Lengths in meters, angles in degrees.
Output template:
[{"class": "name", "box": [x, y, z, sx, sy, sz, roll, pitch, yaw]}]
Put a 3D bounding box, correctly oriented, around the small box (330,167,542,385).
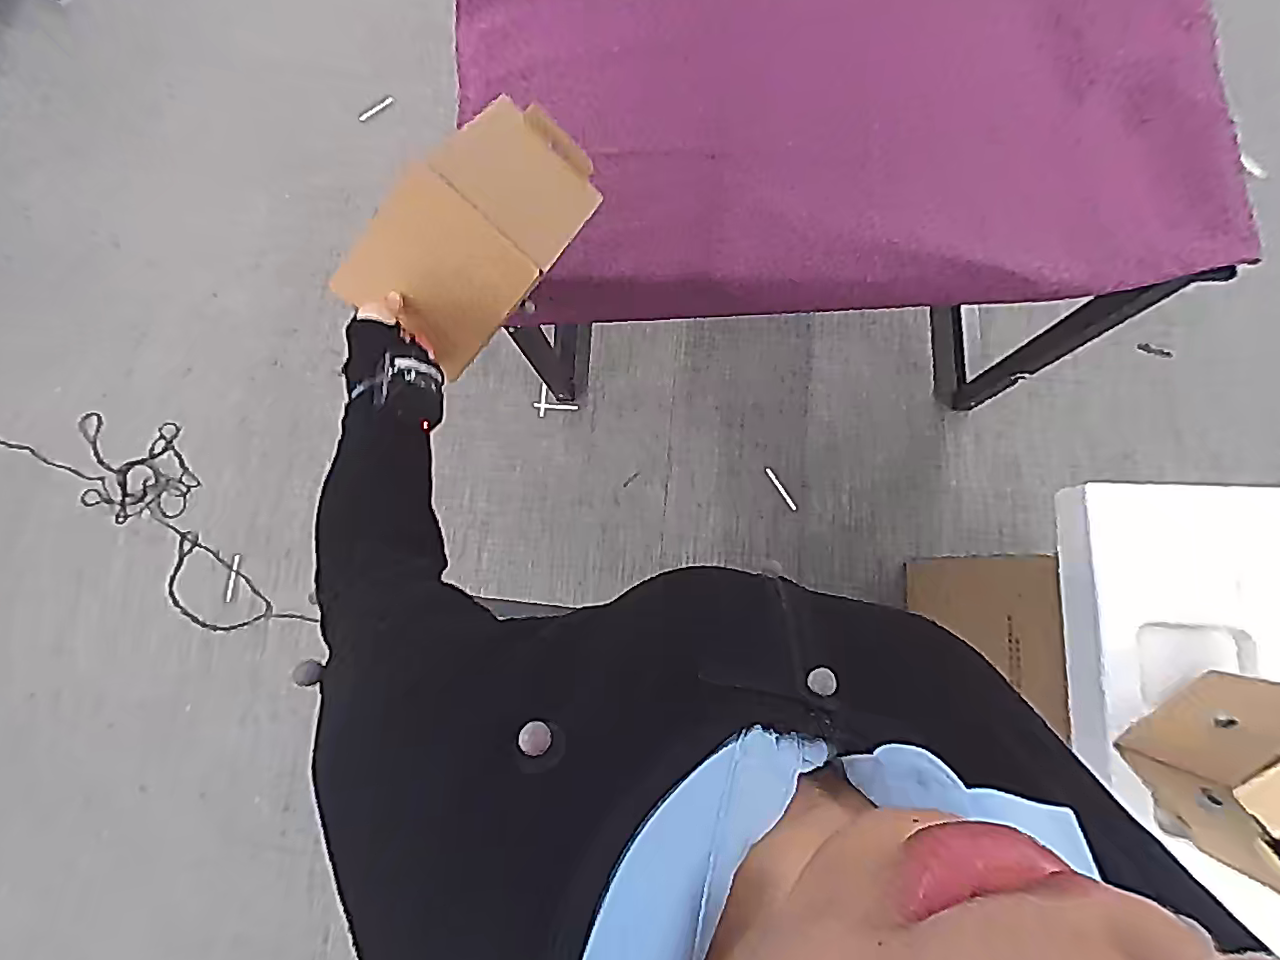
[{"class": "small box", "box": [-0.243, -0.251, 0.685, 0.168, 0.176, 0.179, 39, 100, -20]}]
